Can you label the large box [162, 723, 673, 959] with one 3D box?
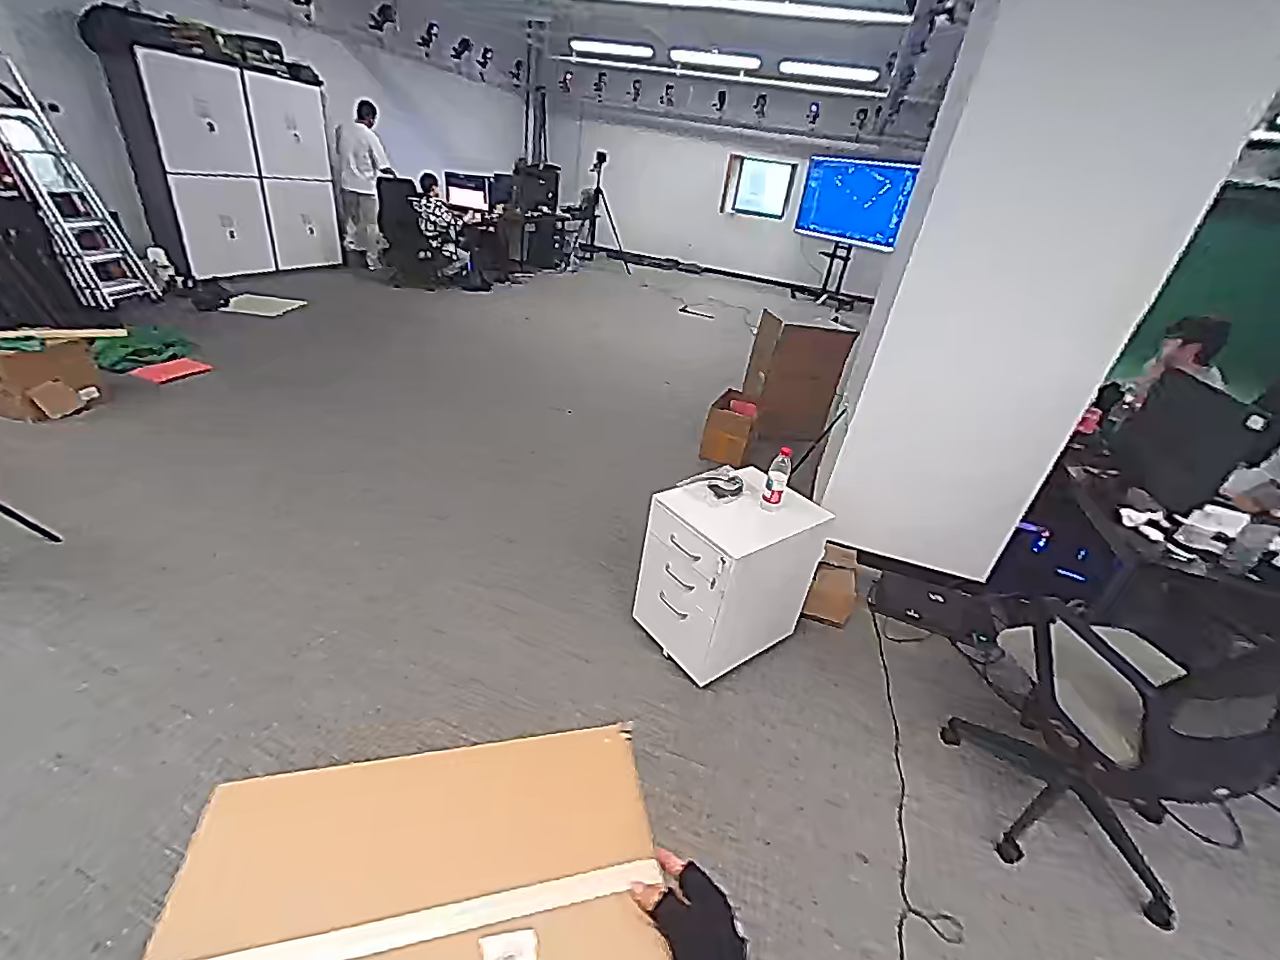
[{"bbox_3d":[-0.201,0.503,0.540,0.408,0.320,0.320,-2,33,-16],"label":"large box"}]
